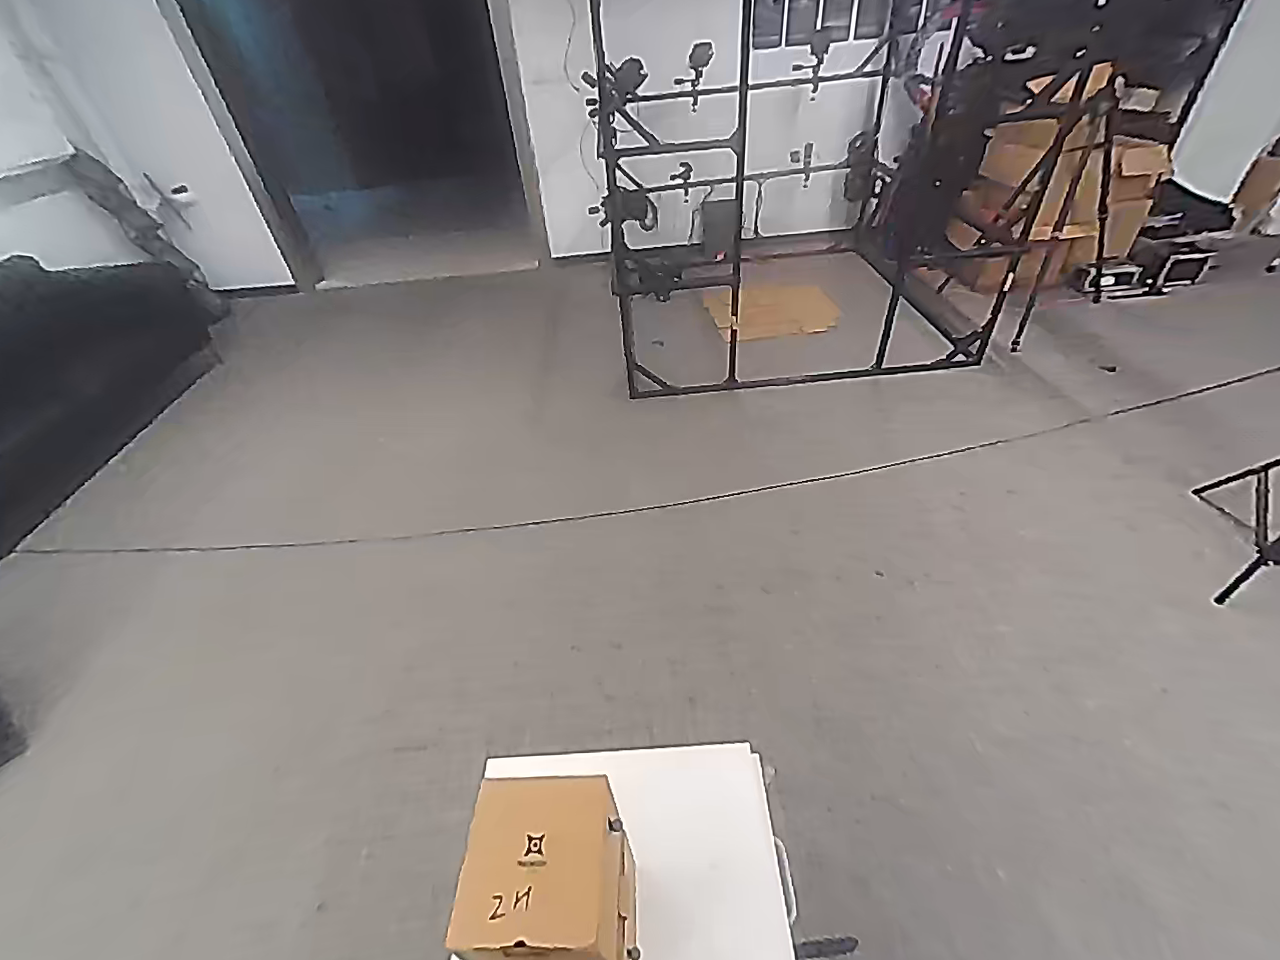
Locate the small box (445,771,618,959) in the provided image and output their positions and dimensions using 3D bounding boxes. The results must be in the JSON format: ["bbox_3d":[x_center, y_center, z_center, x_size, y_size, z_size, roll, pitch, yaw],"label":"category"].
[{"bbox_3d":[-0.121,0.496,0.685,0.168,0.176,0.179,-3,40,4],"label":"small box"}]
